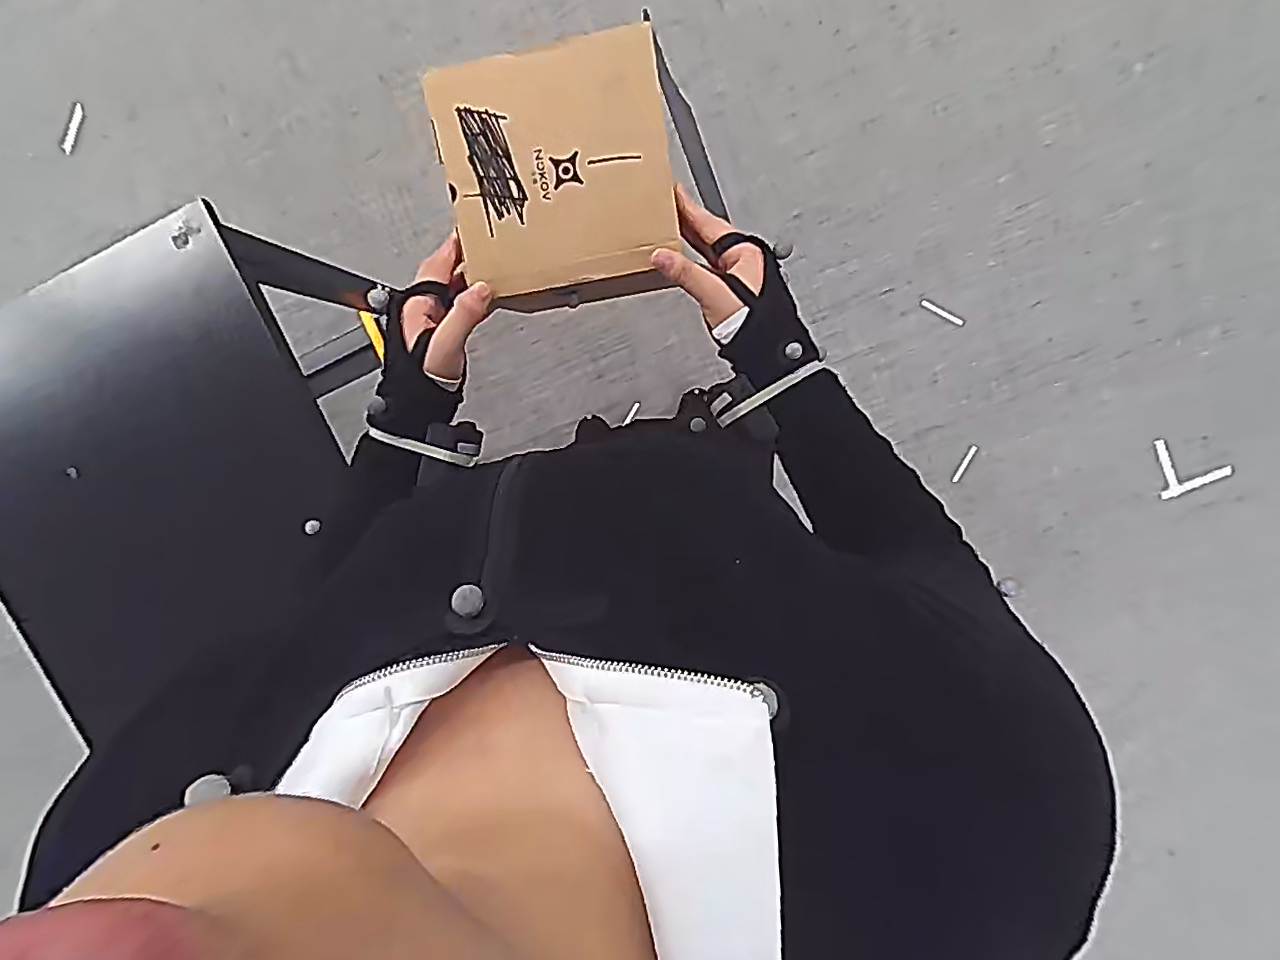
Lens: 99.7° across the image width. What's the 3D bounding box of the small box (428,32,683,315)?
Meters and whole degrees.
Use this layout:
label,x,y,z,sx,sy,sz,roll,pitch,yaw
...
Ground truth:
label,x,y,z,sx,sy,sz,roll,pitch,yaw
small box,-0.057,-0.249,0.488,0.179,0.176,0.168,-8,104,5
